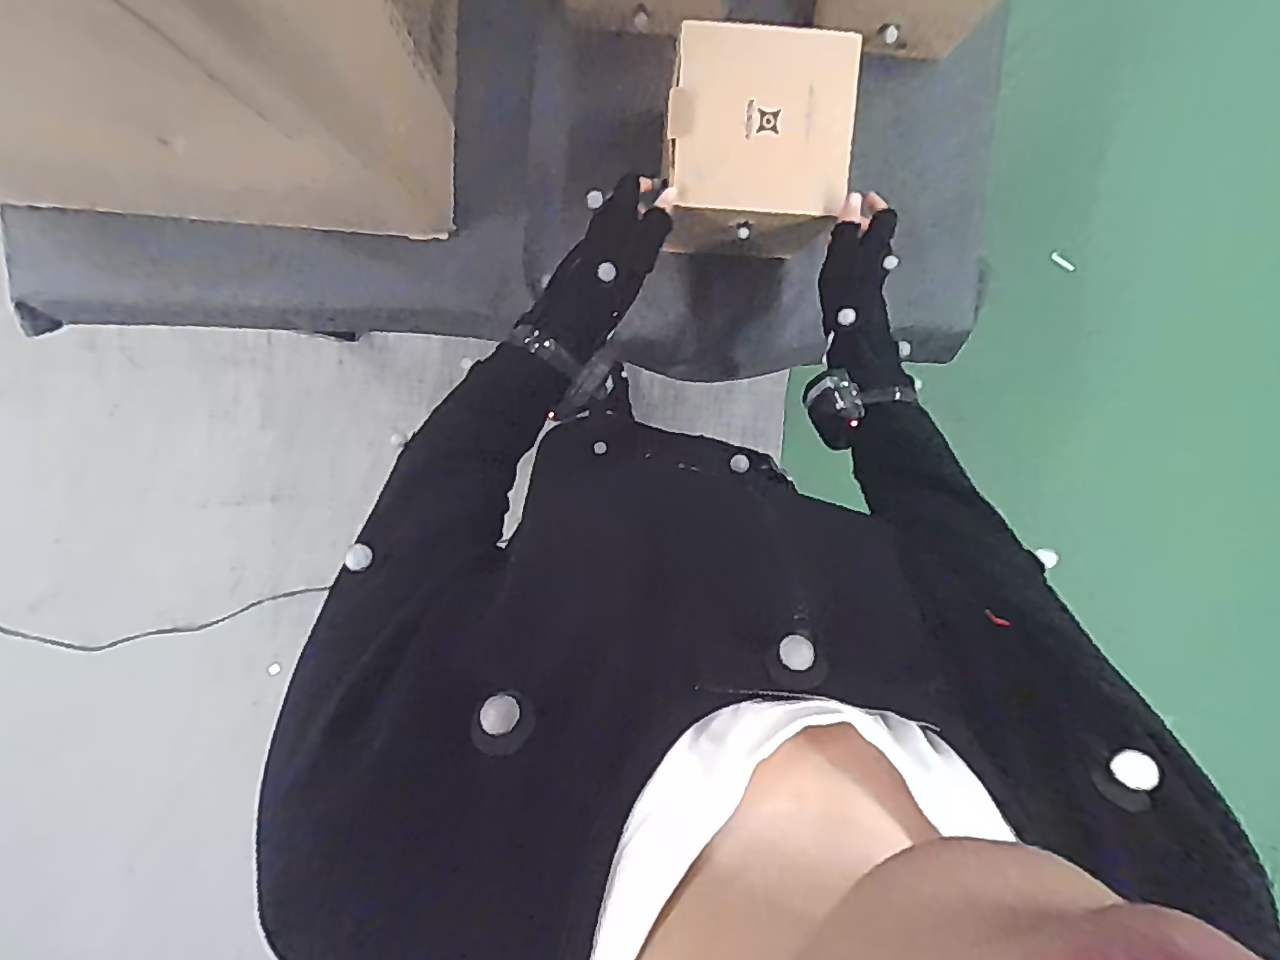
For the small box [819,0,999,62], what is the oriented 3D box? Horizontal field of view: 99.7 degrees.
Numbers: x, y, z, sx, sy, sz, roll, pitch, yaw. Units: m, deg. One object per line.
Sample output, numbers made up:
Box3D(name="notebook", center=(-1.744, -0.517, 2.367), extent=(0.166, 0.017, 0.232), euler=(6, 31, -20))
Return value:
Box3D(name="small box", center=(0.305, -0.599, 0.574), extent=(0.168, 0.176, 0.179), euler=(5, 99, -3))
